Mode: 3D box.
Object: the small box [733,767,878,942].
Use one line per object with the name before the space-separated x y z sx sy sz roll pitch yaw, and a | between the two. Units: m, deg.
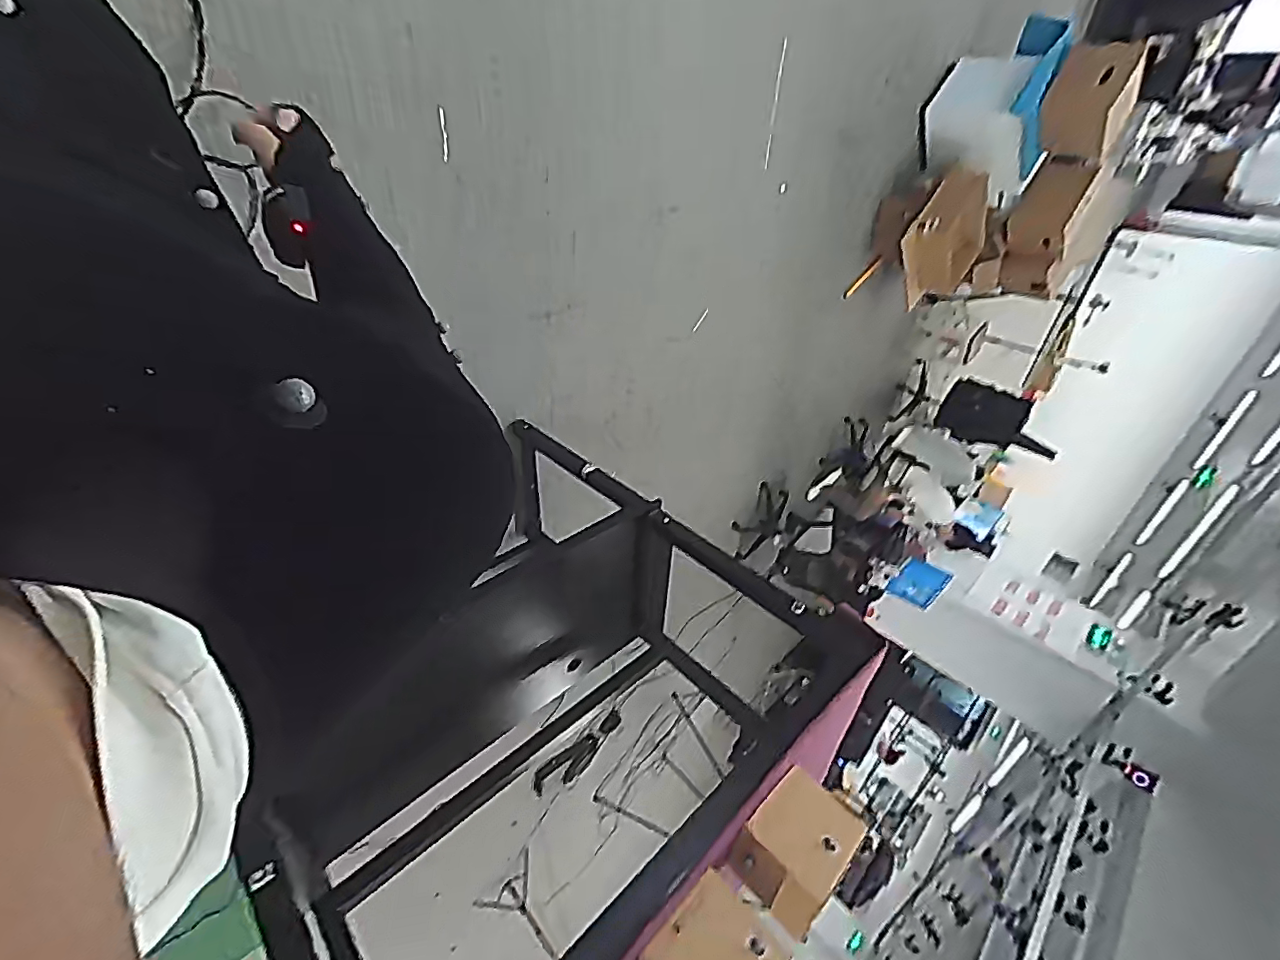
small box | 0.302 0.682 1.004 0.179 0.176 0.168 -24 133 -38
